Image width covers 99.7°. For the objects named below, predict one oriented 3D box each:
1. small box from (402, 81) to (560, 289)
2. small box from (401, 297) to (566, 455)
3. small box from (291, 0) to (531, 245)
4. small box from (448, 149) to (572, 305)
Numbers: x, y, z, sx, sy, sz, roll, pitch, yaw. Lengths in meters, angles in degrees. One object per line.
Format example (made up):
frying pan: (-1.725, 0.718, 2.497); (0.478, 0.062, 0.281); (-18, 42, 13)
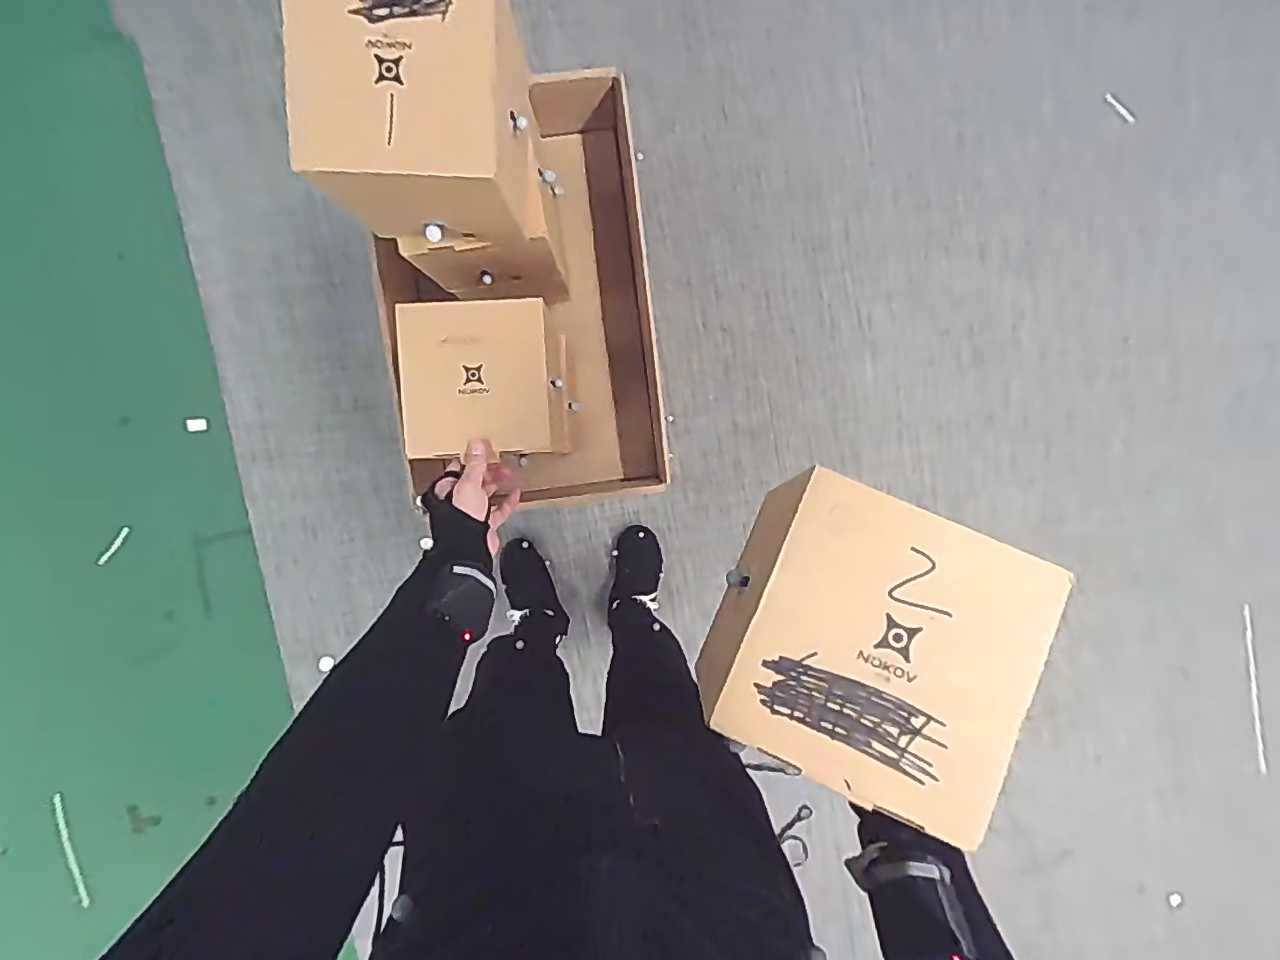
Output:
small box: (-0.200, -0.358, 0.681); (0.168, 0.176, 0.179); (-8, 97, -1)
small box: (-0.187, -0.122, 0.694); (0.168, 0.176, 0.179); (-2, 92, -2)
small box: (-0.201, -0.345, 0.517); (0.168, 0.176, 0.179); (1, 97, -2)
small box: (-0.204, -0.376, 0.842); (0.168, 0.176, 0.179); (-8, 96, 0)
